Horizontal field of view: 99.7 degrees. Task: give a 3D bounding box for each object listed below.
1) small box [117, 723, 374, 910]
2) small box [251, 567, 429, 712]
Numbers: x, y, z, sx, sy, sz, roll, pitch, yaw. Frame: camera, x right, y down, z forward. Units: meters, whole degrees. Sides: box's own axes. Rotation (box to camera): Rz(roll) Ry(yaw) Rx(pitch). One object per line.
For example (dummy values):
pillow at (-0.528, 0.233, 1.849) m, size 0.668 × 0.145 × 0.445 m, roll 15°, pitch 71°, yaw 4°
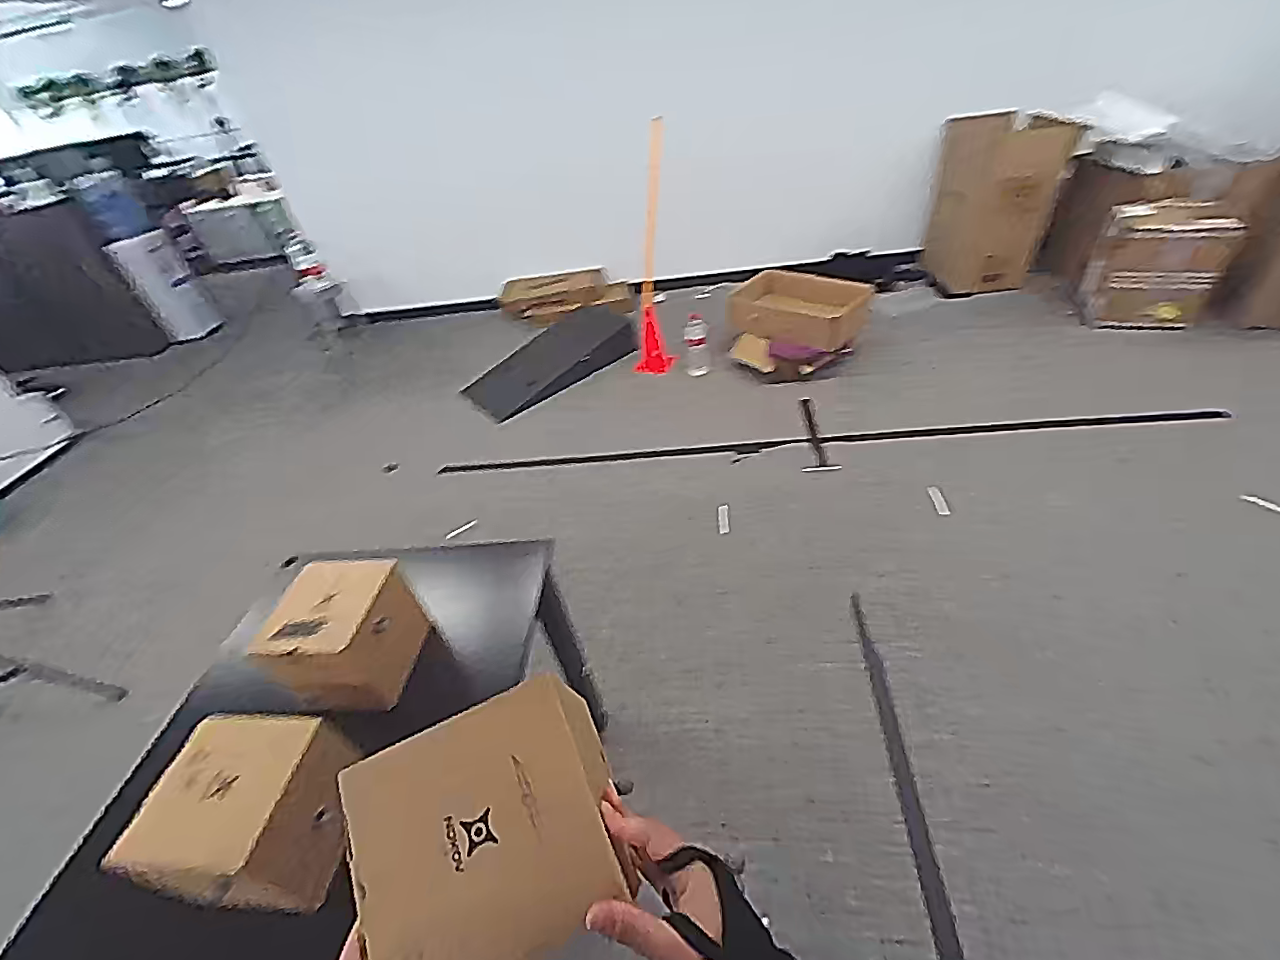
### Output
small box at (-0.487, 0.437, 0.705) m, size 0.179 × 0.176 × 0.168 m, roll -4°, pitch 40°, yaw 9°
small box at (-0.481, 0.268, 0.904) m, size 0.168 × 0.176 × 0.179 m, roll -3°, pitch 40°, yaw 9°
